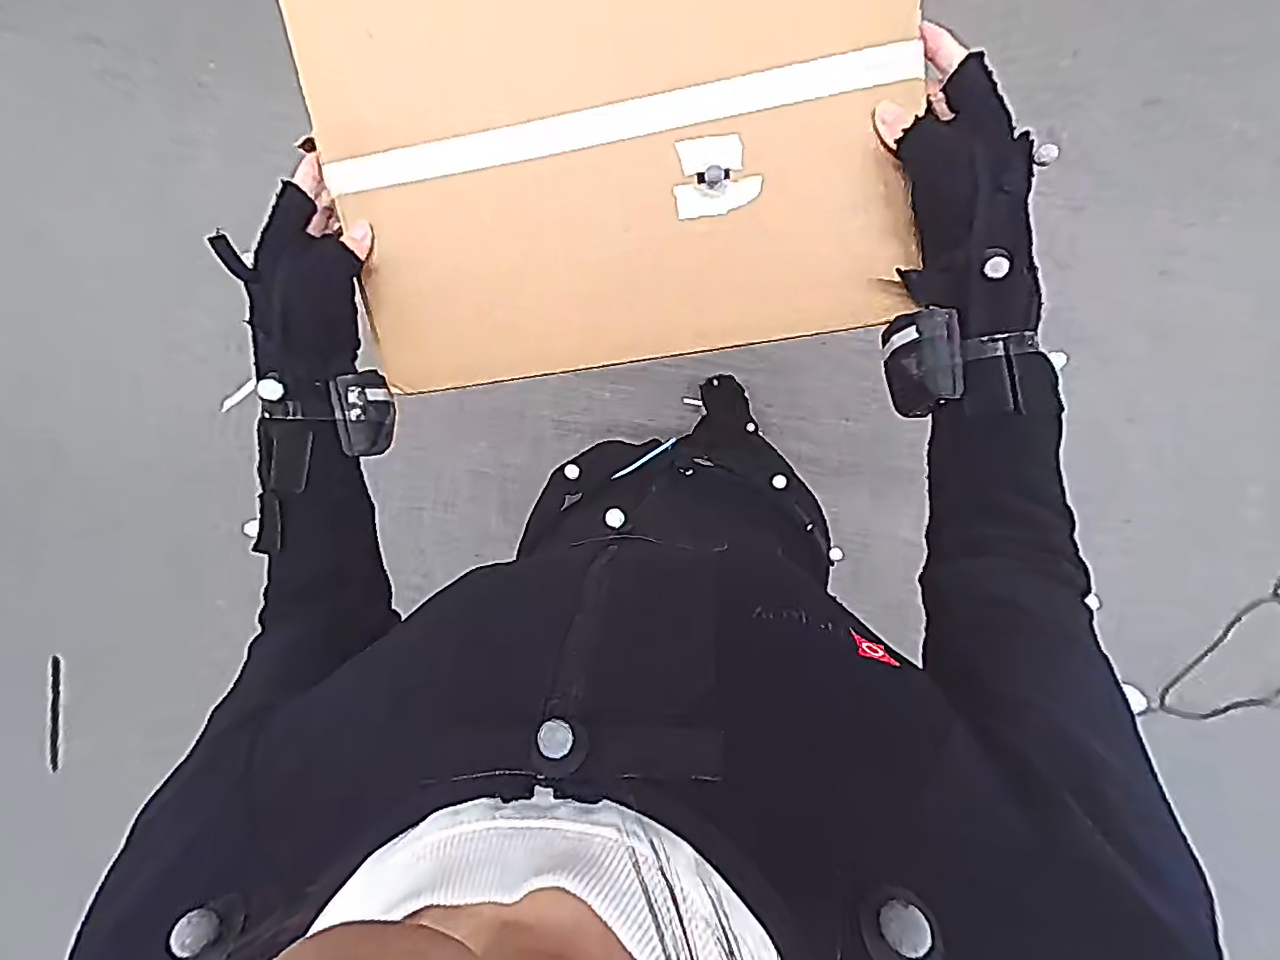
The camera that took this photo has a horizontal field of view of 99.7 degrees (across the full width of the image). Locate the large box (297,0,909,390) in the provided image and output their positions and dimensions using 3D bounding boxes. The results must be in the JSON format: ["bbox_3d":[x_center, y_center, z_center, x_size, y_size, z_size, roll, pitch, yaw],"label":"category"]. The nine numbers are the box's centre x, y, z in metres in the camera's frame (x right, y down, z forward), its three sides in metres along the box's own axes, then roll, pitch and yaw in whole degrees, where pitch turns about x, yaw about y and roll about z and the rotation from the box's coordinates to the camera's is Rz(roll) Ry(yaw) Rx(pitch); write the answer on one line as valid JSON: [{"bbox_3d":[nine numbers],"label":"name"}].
[{"bbox_3d":[-0.013,-0.287,0.524,0.408,0.320,0.320,-8,106,6],"label":"large box"}]
